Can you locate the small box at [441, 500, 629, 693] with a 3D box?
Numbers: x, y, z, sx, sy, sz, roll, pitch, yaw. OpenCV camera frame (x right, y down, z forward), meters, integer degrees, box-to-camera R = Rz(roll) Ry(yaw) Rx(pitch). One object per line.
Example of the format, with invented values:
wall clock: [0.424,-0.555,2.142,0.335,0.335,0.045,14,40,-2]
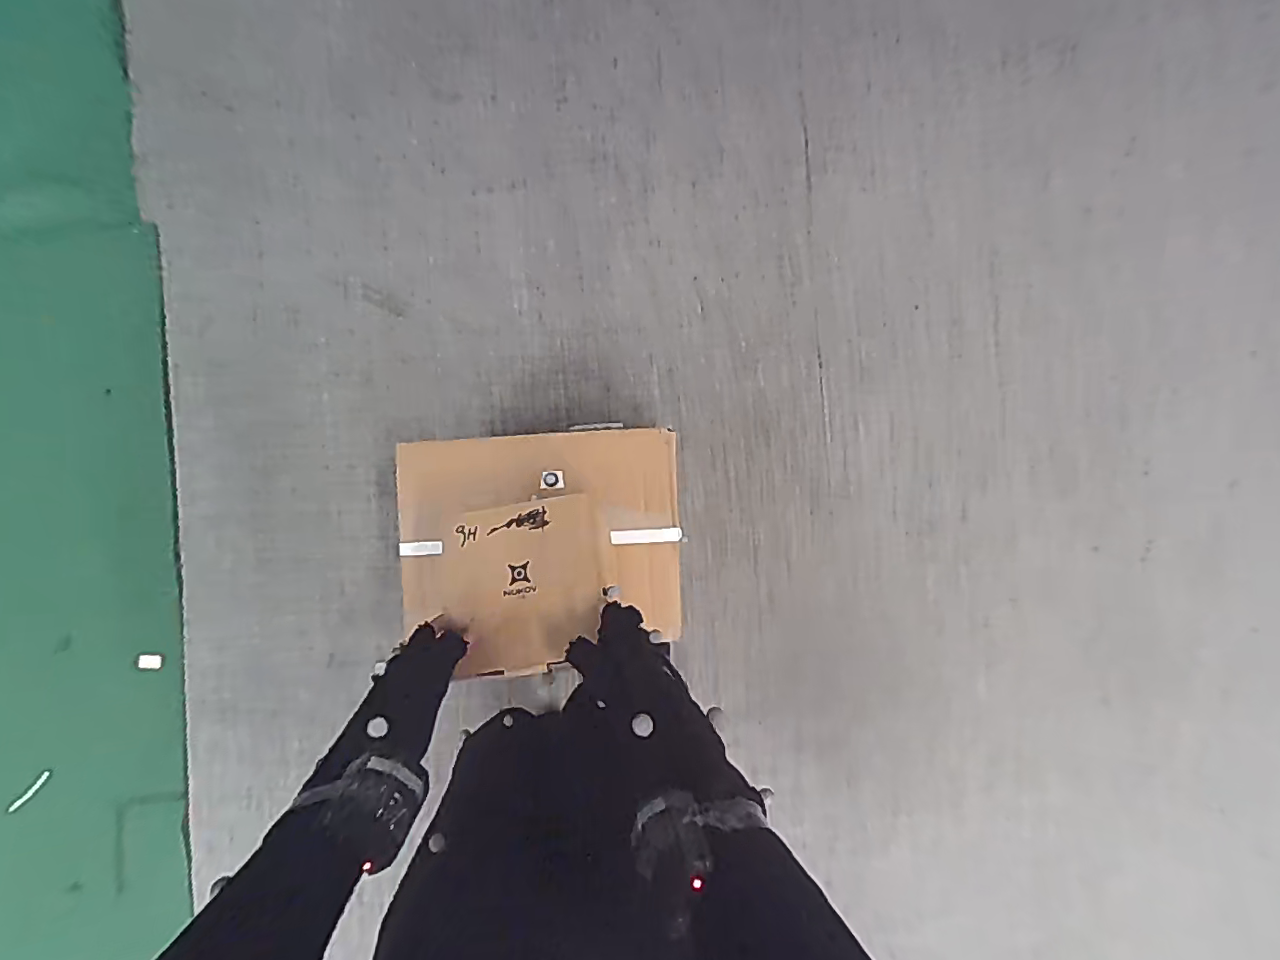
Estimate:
small box: [-0.115,0.143,0.635,0.168,0.176,0.179,-12,68,4]
